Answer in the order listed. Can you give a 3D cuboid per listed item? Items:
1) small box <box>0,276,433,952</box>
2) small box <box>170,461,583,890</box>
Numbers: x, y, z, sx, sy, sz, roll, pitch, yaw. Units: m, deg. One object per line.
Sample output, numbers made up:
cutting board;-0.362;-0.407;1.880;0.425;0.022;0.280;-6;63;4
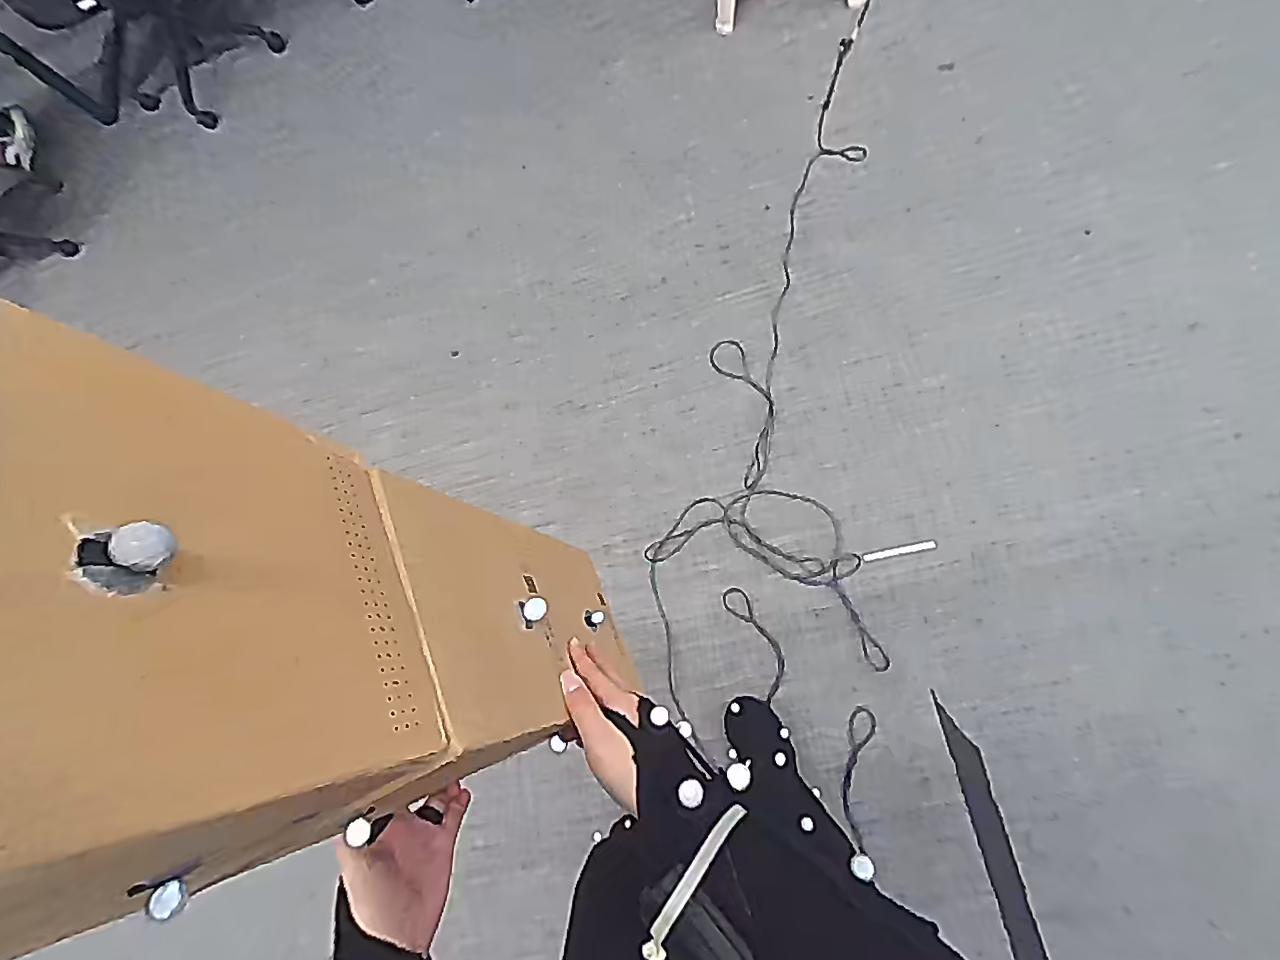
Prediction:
small box;-0.216;0.066;0.213;0.168;0.176;0.179;-30;68;6
small box;-0.165;0.119;0.358;0.179;0.176;0.168;-29;68;6
